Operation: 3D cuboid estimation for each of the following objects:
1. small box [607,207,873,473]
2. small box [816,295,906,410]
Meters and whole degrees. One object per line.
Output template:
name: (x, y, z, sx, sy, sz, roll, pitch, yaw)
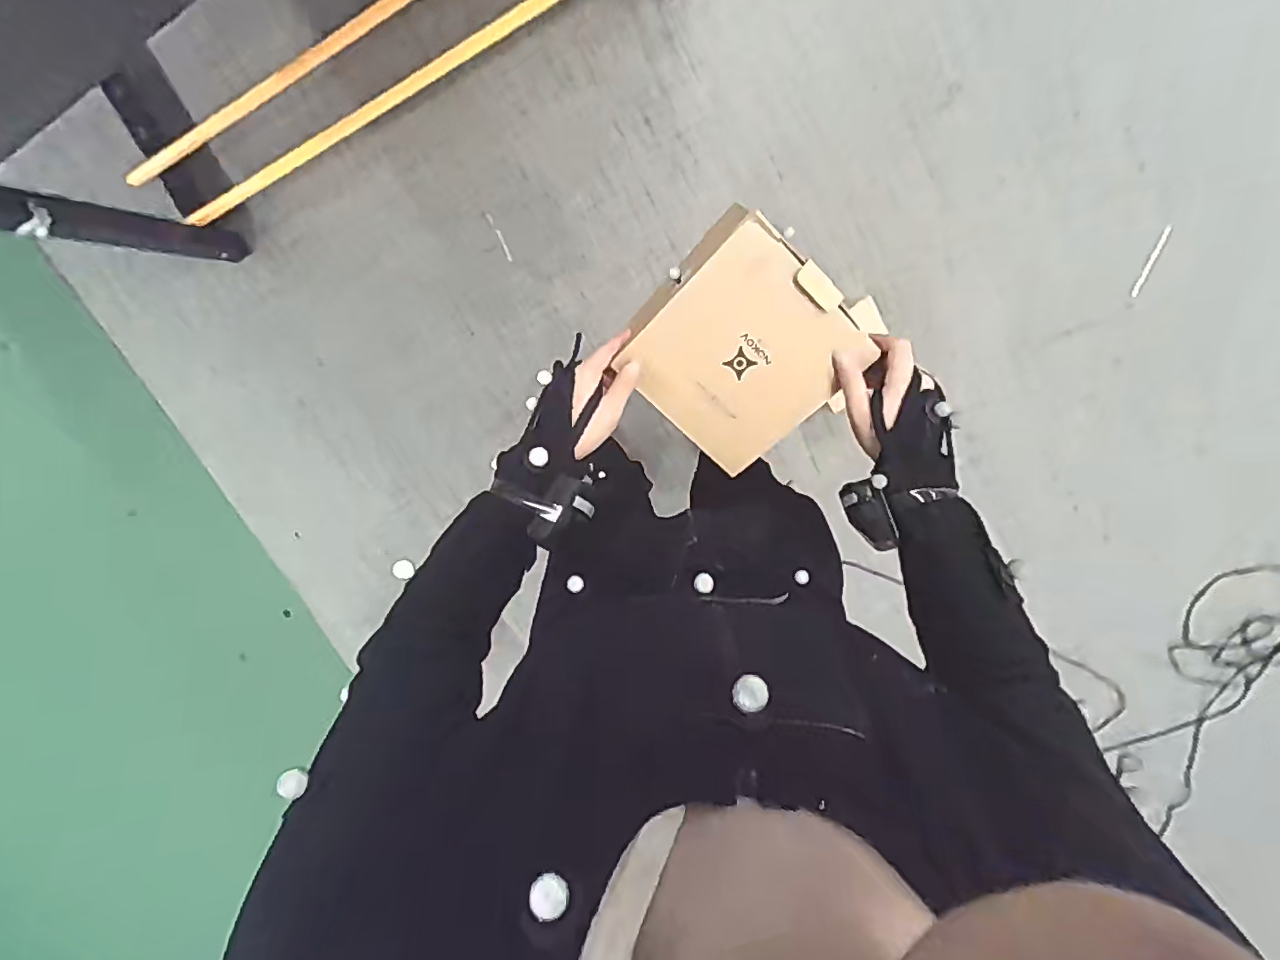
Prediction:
small box: (0.089, -0.147, 0.541, 0.168, 0.176, 0.179, 40, 115, -16)
small box: (0.426, -0.271, 1.159, 0.168, 0.176, 0.179, -30, 101, 11)
